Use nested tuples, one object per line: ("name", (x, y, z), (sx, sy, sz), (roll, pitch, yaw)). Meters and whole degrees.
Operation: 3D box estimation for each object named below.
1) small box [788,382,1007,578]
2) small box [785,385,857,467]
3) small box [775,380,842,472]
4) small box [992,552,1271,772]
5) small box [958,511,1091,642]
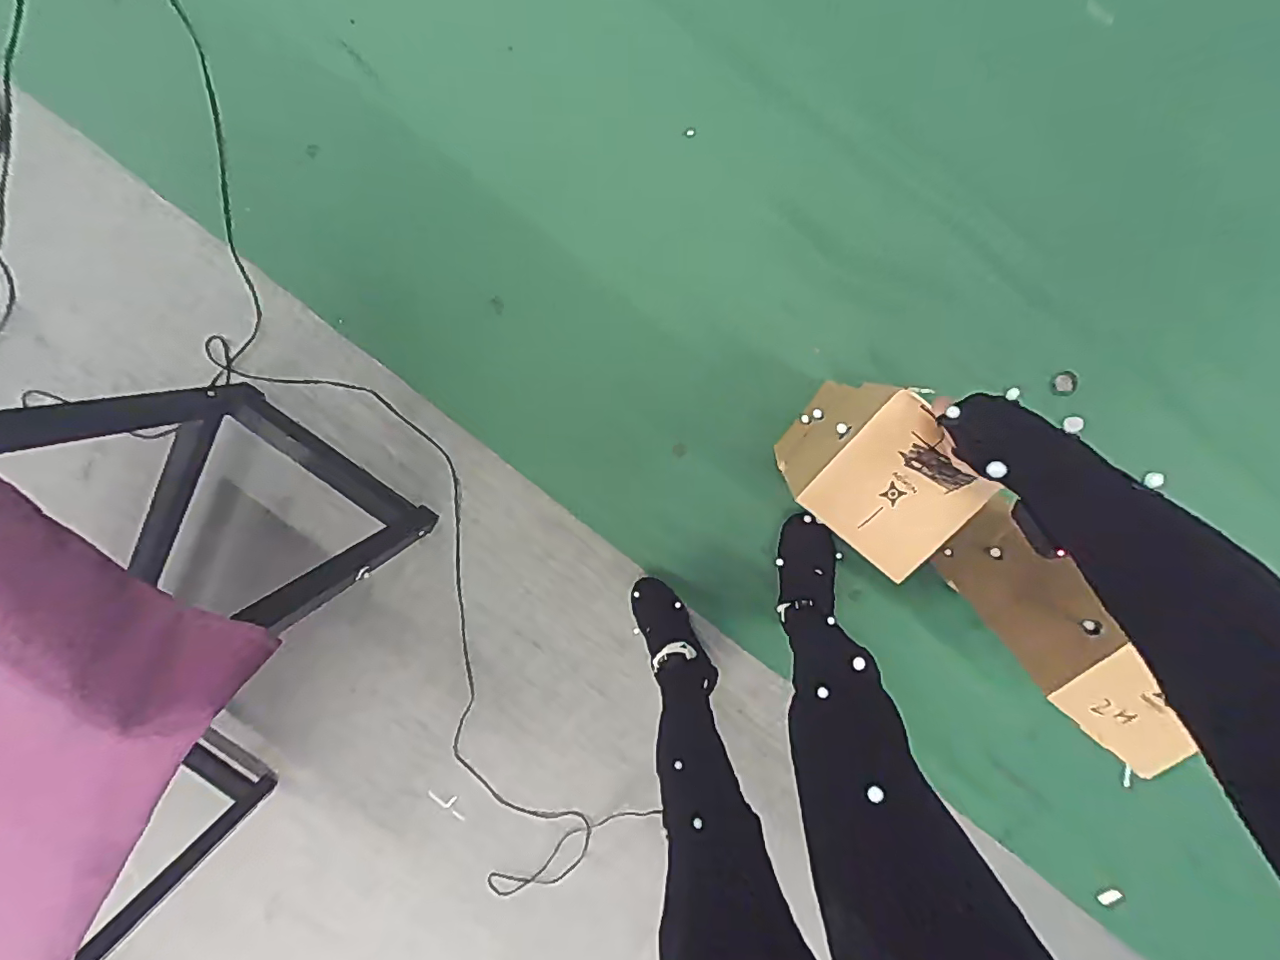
("small box", (0.312, -0.012, 0.705), (0.168, 0.176, 0.179), (40, 106, -1))
("small box", (0.353, -0.039, 0.861), (0.179, 0.176, 0.168), (36, 106, 1))
("small box", (0.372, -0.070, 1.020), (0.168, 0.176, 0.179), (36, 108, -1))
("small box", (0.618, 0.226, 0.711), (0.168, 0.176, 0.179), (40, 110, -3))
("small box", (0.649, 0.182, 0.867), (0.168, 0.176, 0.179), (39, 111, -3))
